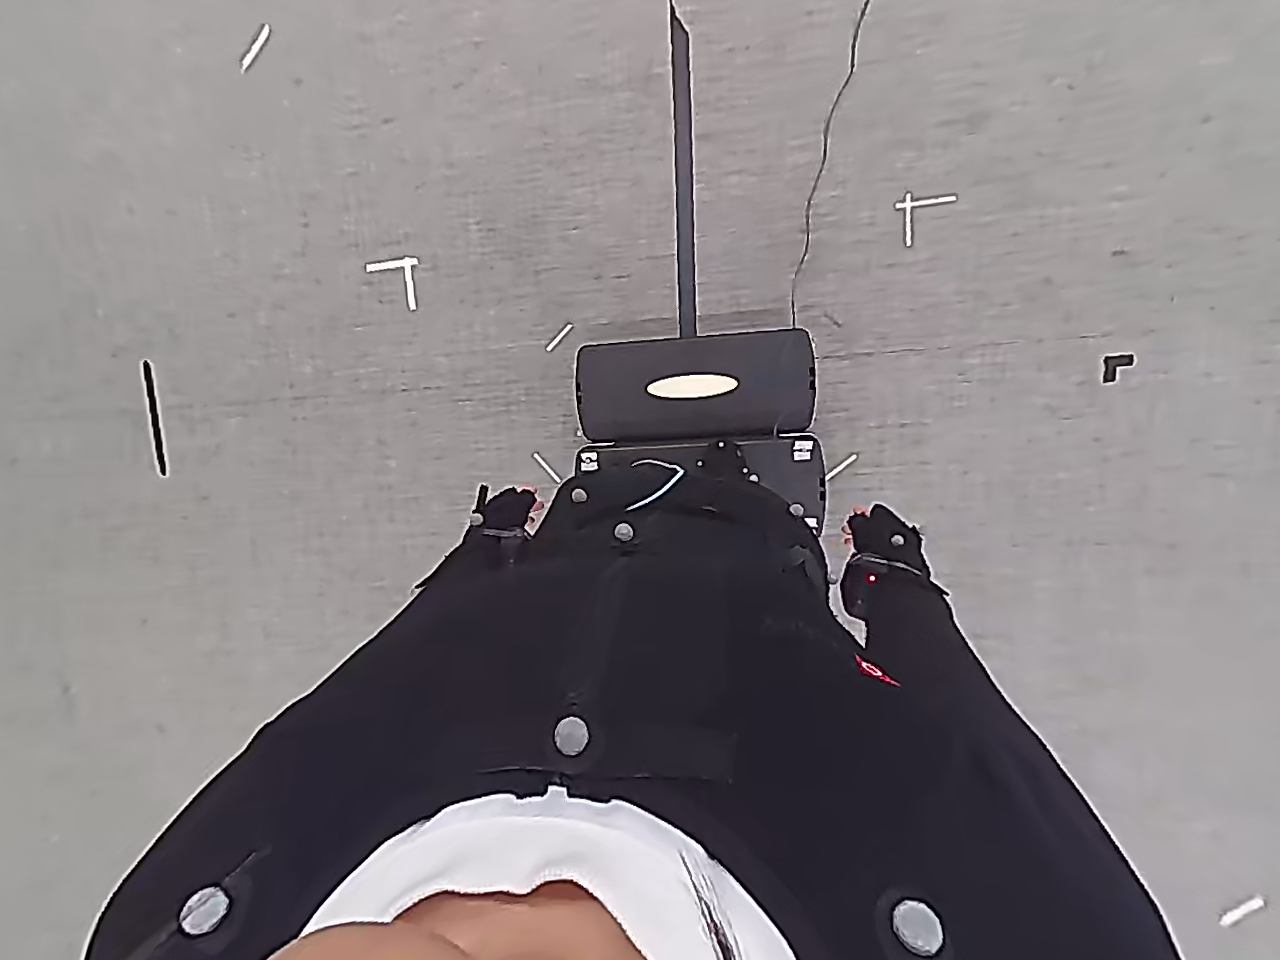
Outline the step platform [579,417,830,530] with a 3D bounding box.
[{"bbox_3d":[0.172,-0.015,1.518,0.684,0.204,0.286,-3,95,10],"label":"step platform"}]
